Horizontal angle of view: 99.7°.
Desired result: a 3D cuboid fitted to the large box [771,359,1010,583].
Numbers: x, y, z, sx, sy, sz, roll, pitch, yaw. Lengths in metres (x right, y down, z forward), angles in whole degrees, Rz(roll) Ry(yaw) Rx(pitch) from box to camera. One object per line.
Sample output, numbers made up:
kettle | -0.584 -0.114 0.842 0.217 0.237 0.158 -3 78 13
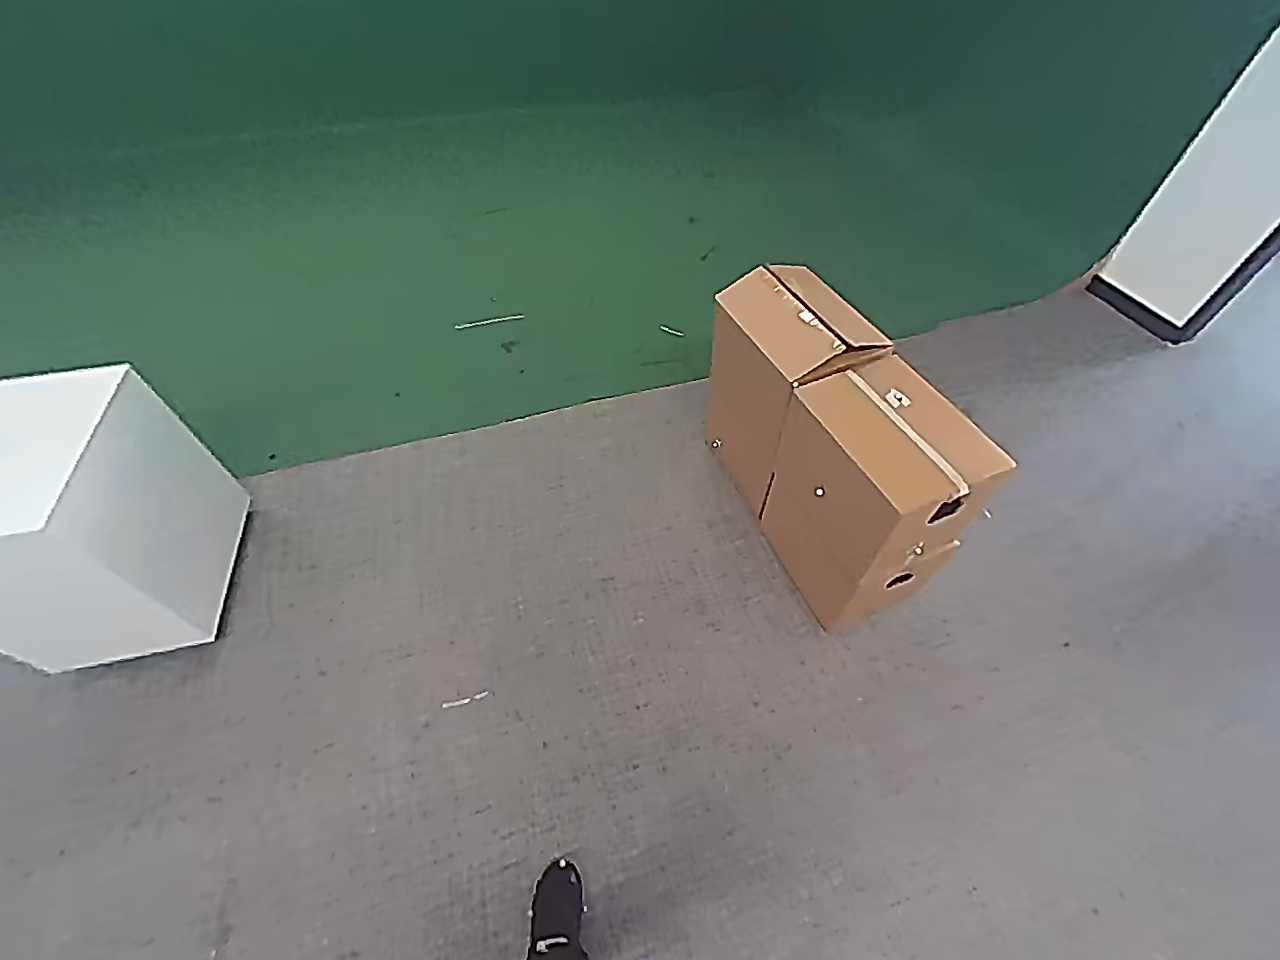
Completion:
large box | 0.580 -0.026 1.344 0.320 0.320 0.408 -19 53 -13
